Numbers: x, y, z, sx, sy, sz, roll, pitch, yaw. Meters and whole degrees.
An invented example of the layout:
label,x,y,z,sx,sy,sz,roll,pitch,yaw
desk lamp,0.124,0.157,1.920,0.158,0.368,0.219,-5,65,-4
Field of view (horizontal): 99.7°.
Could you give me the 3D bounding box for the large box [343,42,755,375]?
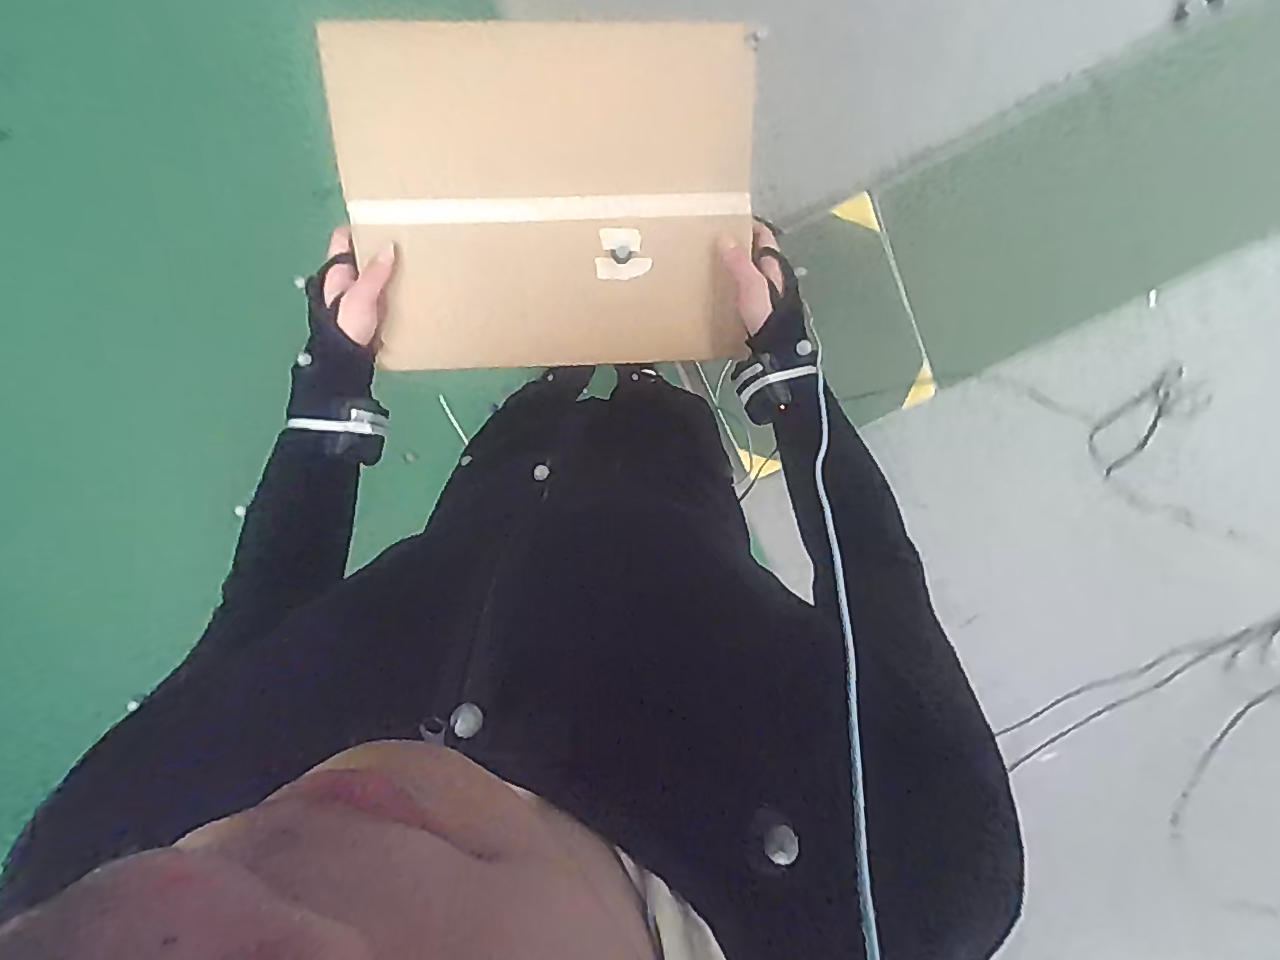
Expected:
label,x,y,z,sx,sy,sz,roll,pitch,yaw
large box,-0.093,-0.315,0.705,0.408,0.320,0.320,-2,108,-4
